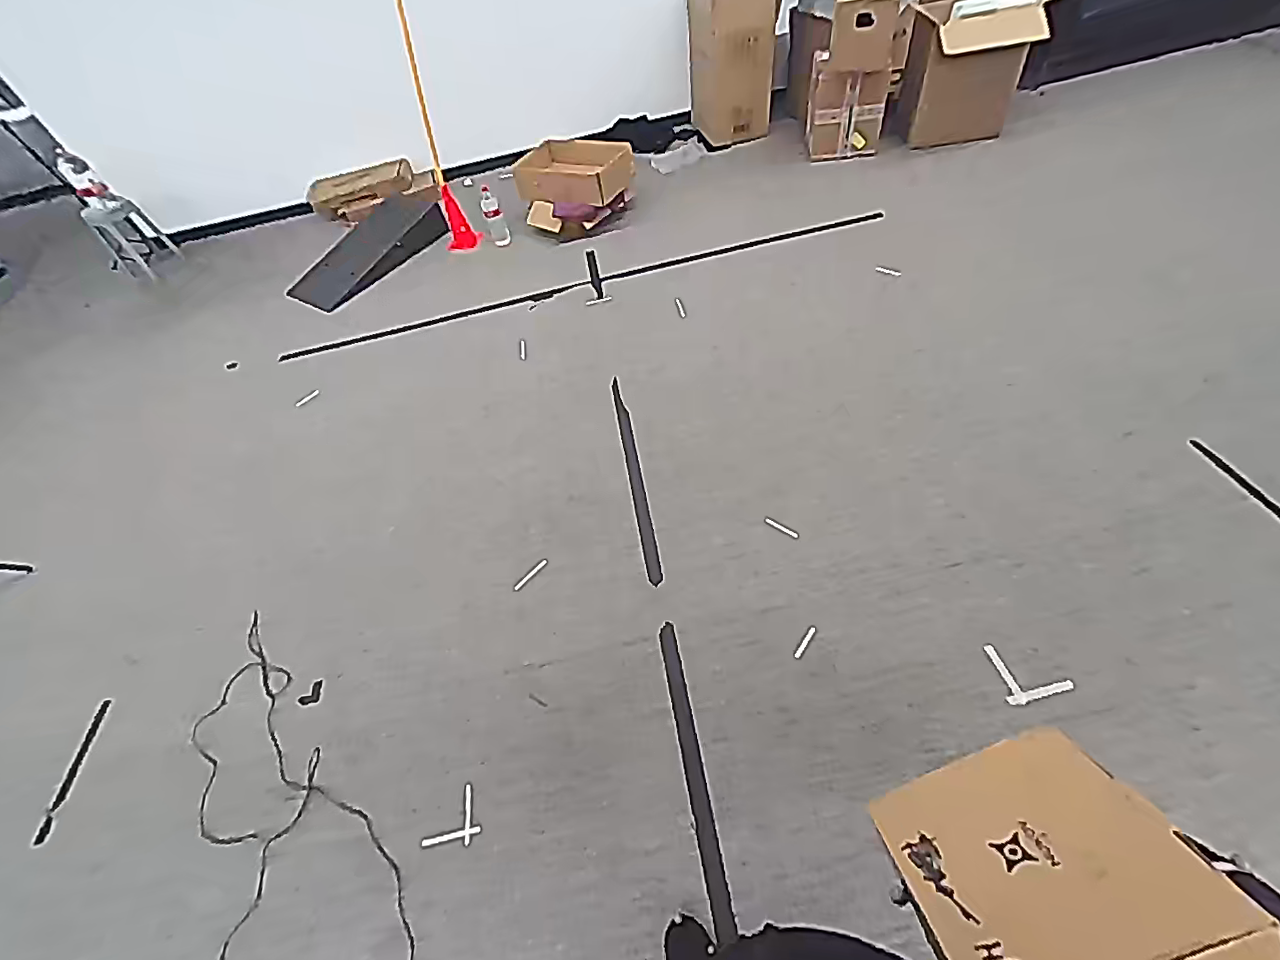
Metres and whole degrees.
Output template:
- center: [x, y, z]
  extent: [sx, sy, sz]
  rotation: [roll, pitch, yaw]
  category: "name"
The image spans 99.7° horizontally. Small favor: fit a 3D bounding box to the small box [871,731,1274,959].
- center: [0.318, 0.343, 0.417]
  extent: [0.179, 0.176, 0.168]
  rotation: [-26, 13, 5]
  category: "small box"
